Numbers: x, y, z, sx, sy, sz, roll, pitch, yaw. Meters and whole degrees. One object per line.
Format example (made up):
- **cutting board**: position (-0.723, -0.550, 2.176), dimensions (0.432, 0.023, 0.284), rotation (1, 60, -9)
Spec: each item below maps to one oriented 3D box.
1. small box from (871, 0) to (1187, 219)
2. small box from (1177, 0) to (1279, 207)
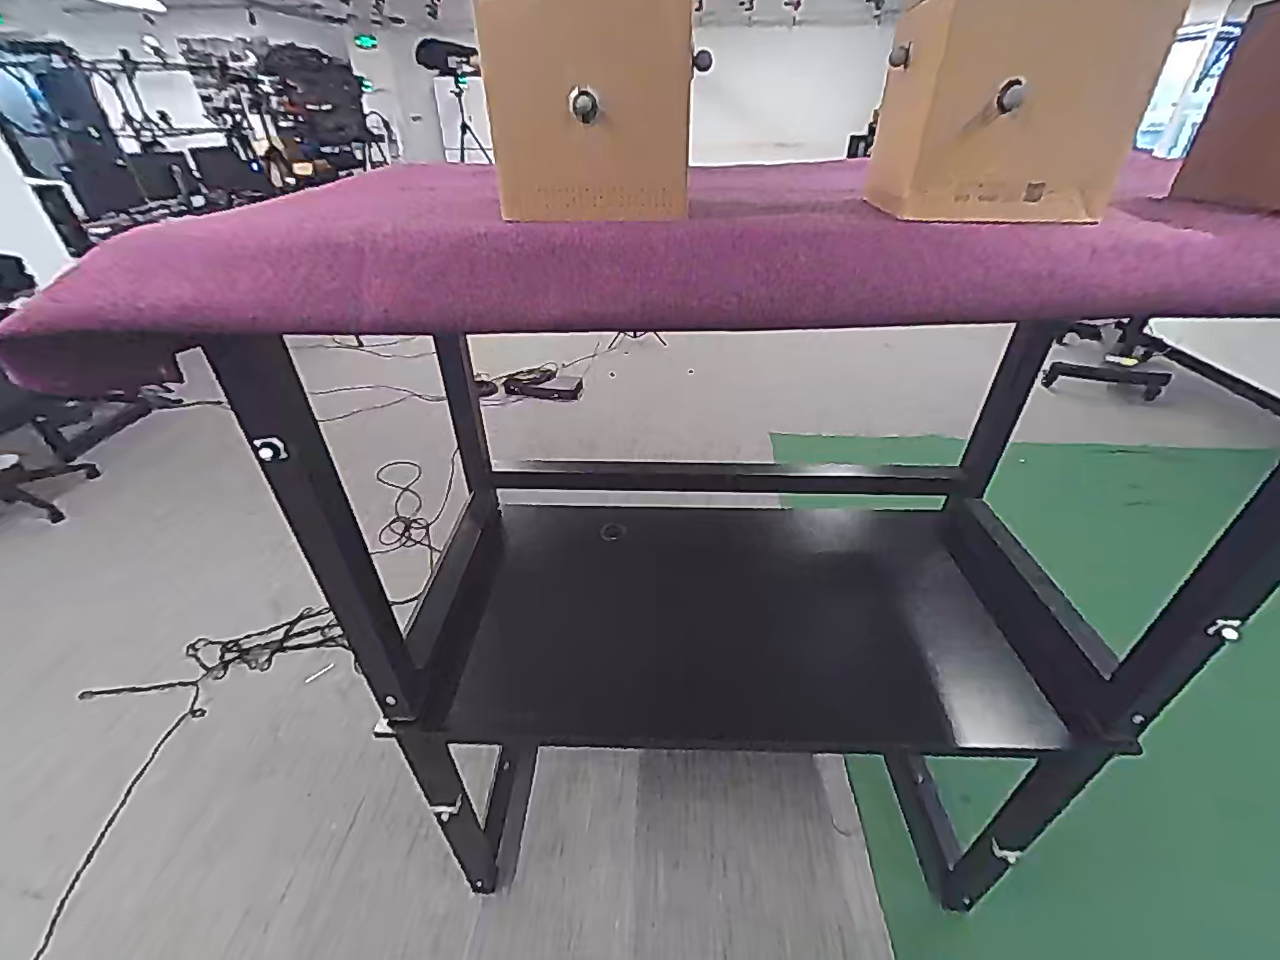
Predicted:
- **small box**: position (0.328, -0.341, 0.494), dimensions (0.168, 0.176, 0.179), rotation (4, 33, 7)
- **small box**: position (0.670, -0.342, 0.488), dimensions (0.168, 0.176, 0.179), rotation (0, 33, 1)
